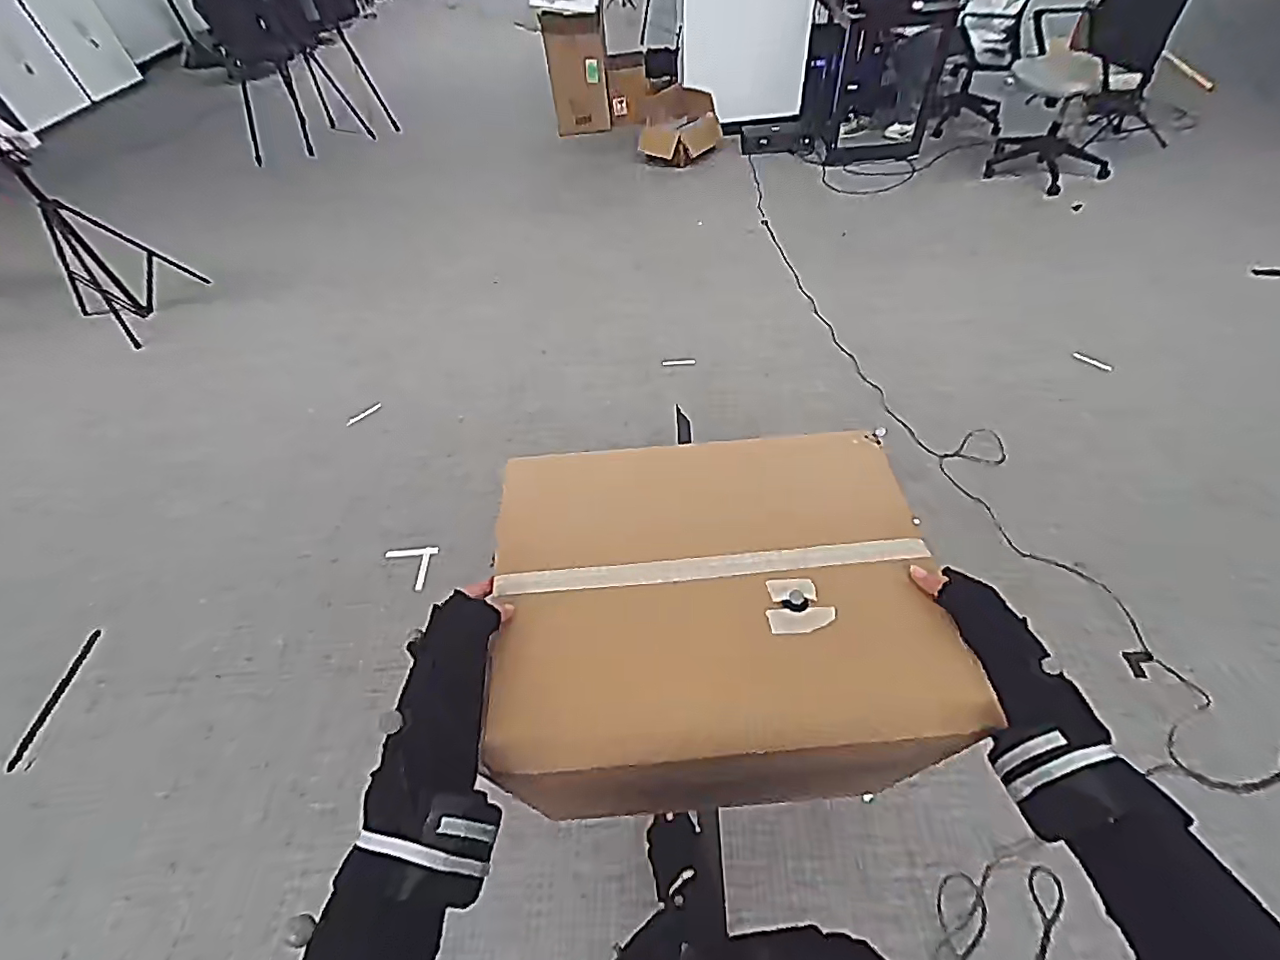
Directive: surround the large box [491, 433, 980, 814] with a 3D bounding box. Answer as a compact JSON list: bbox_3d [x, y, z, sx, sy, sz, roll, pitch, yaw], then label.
[{"bbox_3d":[0.070,0.175,0.635,0.408,0.320,0.320,-5,52,-1],"label":"large box"}]
